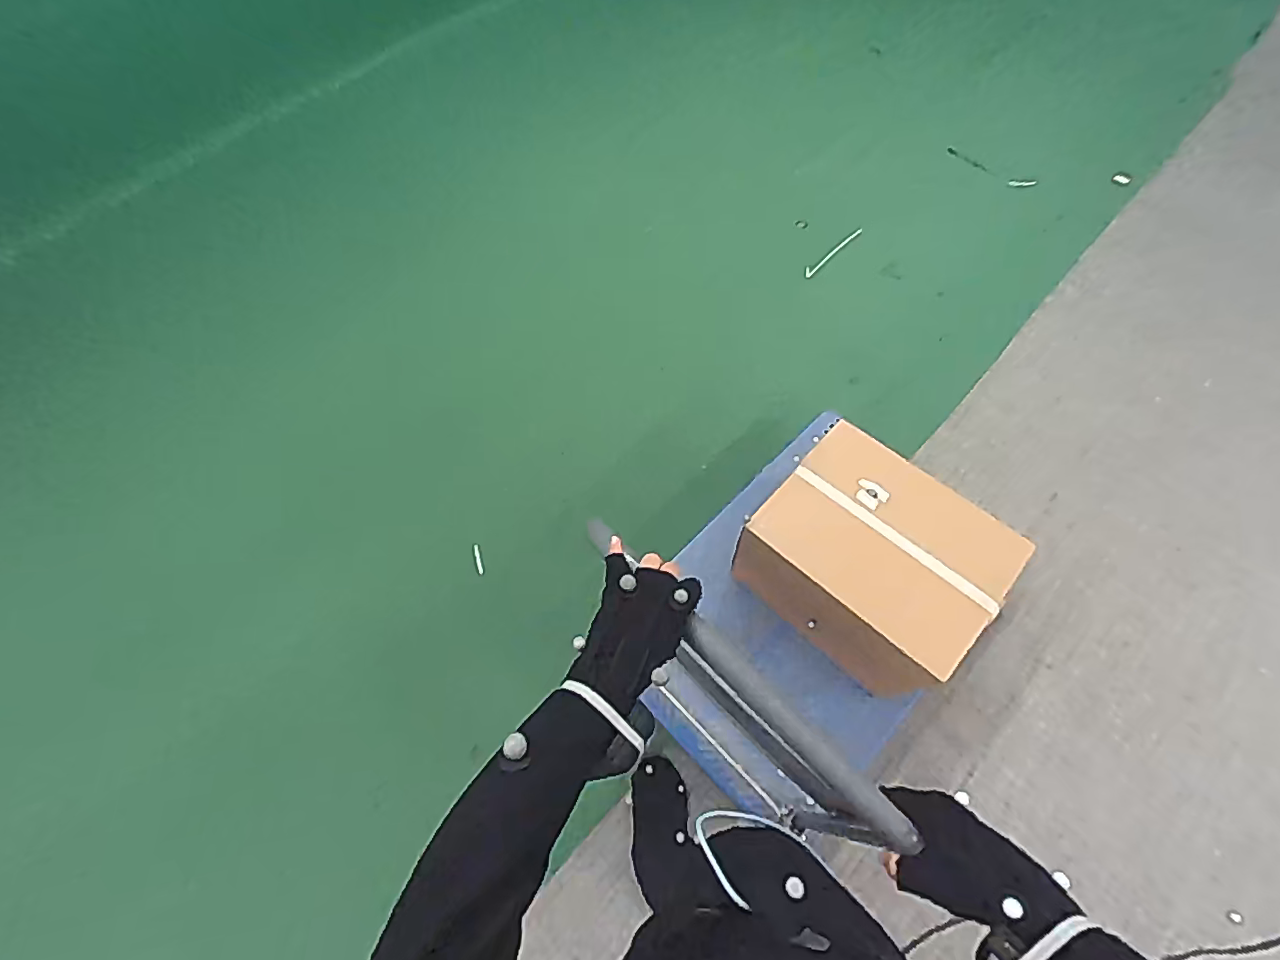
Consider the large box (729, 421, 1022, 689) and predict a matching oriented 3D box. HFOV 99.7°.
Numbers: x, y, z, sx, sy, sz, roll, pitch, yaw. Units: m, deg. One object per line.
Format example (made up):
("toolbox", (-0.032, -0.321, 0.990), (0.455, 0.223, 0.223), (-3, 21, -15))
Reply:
("large box", (0.442, 0.163, 1.112), (0.408, 0.320, 0.320), (39, 71, 21))
